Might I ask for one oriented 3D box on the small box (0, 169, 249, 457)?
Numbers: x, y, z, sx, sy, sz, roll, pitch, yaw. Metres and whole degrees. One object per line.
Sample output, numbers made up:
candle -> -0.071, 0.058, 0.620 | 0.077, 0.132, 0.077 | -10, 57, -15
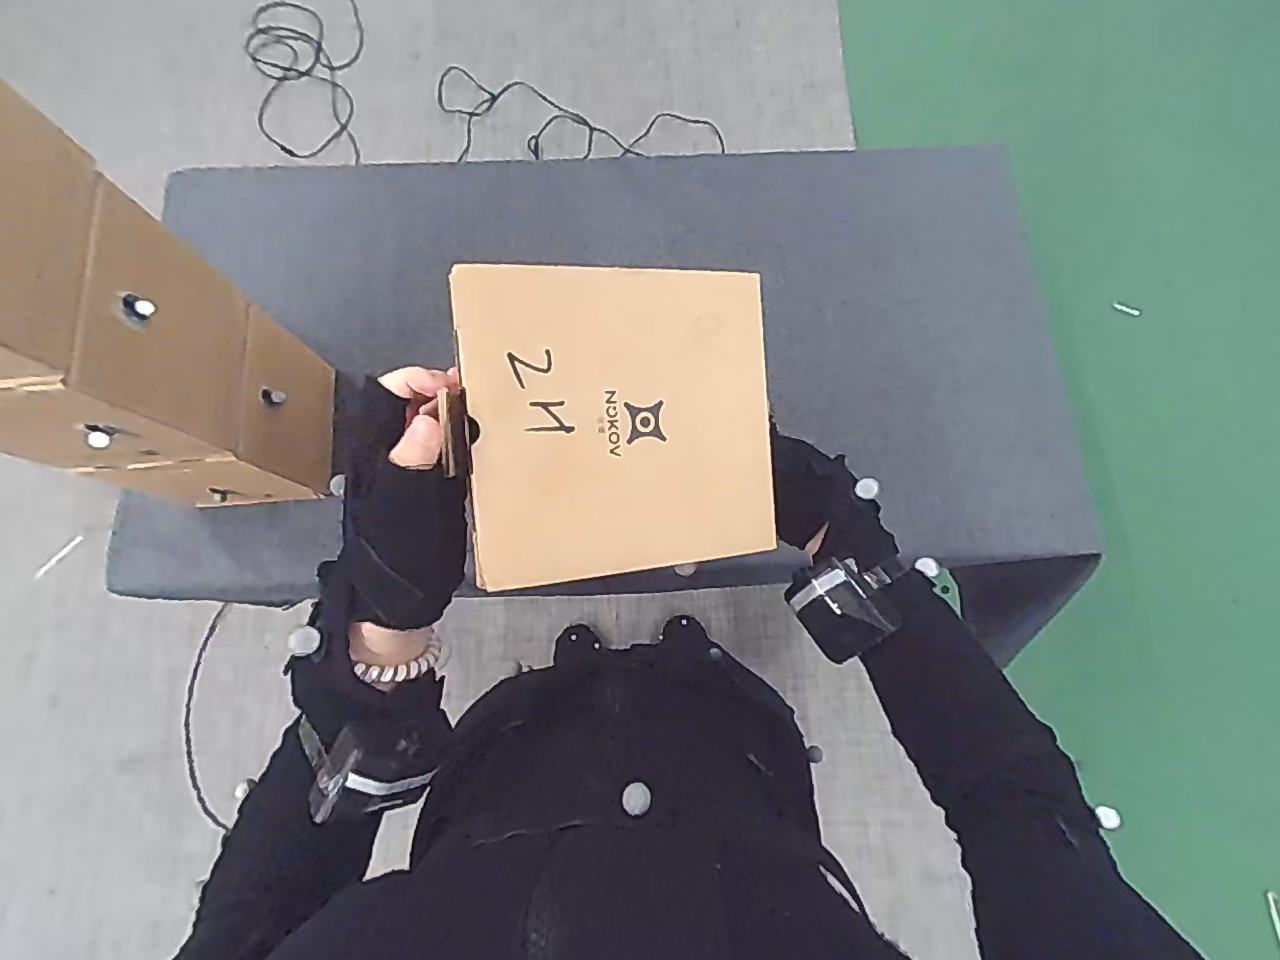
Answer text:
small box -> -0.471, -0.122, 0.457 | 0.168, 0.176, 0.179 | -4, 76, -2

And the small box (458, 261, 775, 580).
small box -> -0.027, -0.037, 0.375 | 0.179, 0.176, 0.168 | -4, 93, -15

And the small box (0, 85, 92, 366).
small box -> -0.469, -0.169, 0.299 | 0.168, 0.176, 0.179 | -6, 76, -3

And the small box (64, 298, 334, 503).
small box -> -0.474, -0.081, 0.614 | 0.168, 0.176, 0.179 | -5, 76, -2
